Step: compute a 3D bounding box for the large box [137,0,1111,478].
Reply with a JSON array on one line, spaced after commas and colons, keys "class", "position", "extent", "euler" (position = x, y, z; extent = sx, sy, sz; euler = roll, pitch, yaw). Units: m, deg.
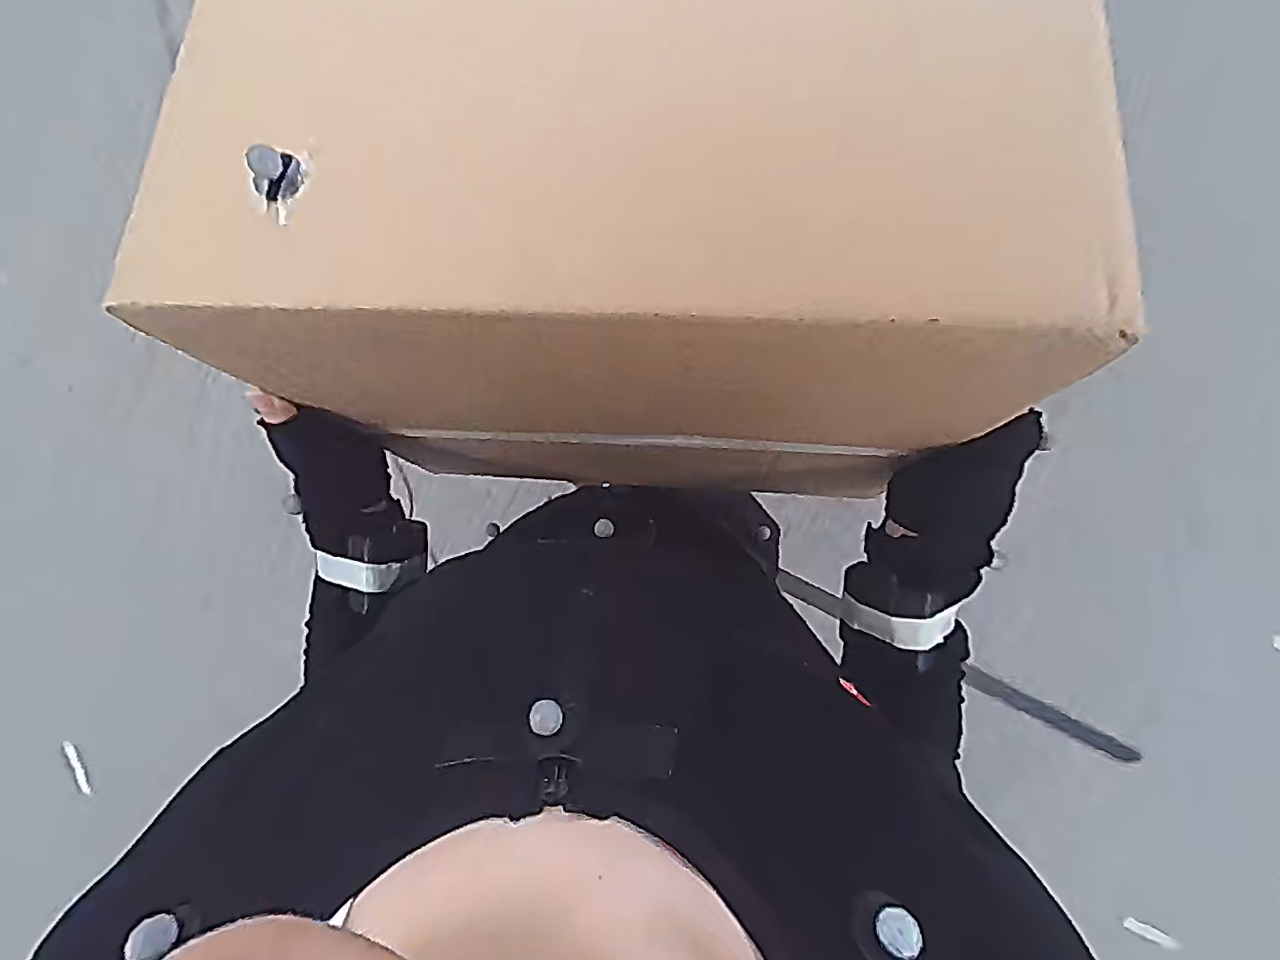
[{"class": "large box", "position": [-0.006, -0.189, 0.390], "extent": [0.408, 0.320, 0.320], "euler": [2, 79, 5]}]
